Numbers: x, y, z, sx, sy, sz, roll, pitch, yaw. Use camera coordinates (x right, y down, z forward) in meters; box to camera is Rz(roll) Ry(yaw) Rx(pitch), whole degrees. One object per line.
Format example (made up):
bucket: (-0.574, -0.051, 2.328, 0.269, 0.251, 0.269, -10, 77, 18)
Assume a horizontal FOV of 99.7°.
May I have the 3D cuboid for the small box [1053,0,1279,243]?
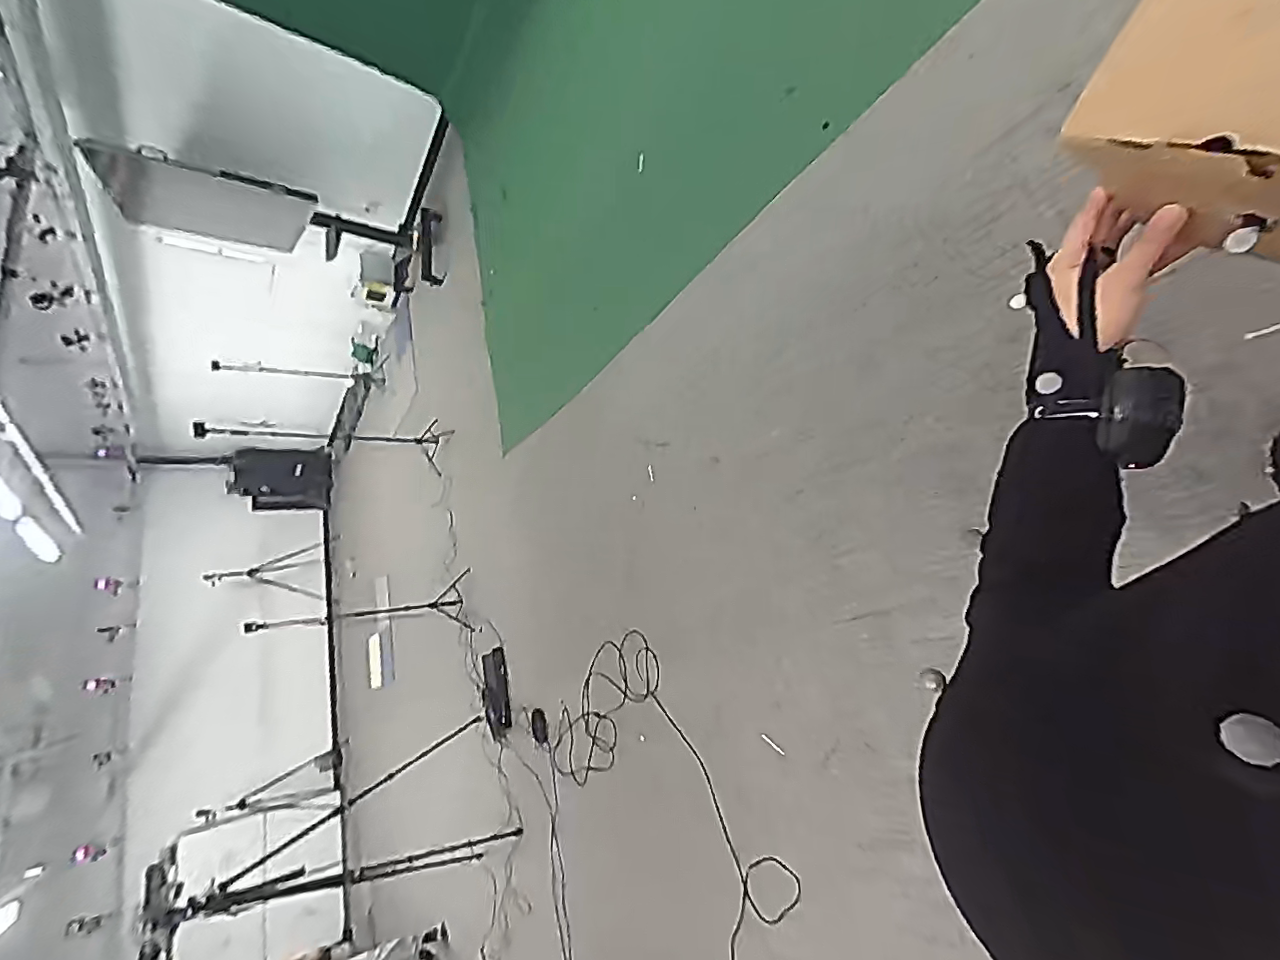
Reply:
small box: (0.381, -0.228, 0.275, 0.179, 0.176, 0.168, -65, 36, 27)
